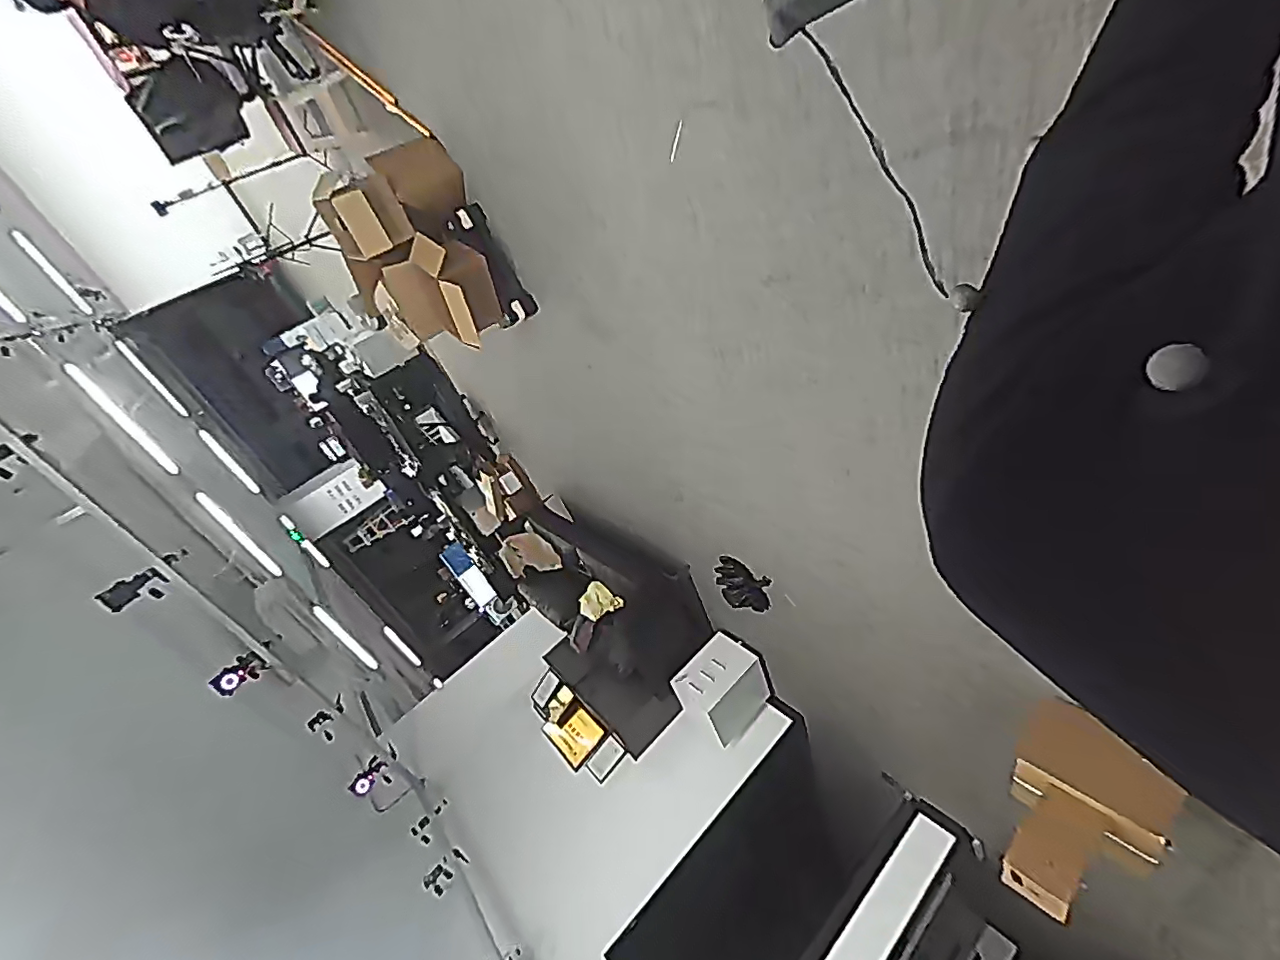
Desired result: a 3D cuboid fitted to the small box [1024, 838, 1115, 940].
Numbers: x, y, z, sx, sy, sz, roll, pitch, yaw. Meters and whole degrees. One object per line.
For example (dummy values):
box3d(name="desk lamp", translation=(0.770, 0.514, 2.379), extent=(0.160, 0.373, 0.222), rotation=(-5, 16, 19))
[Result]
box3d(name="small box", translation=(1.352, 1.278, 1.707), extent=(0.179, 0.176, 0.168), rotation=(22, 143, 49))

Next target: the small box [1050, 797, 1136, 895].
box3d(name="small box", translation=(1.476, 1.190, 1.768), extent=(0.179, 0.176, 0.168), rotation=(24, 144, 51))
